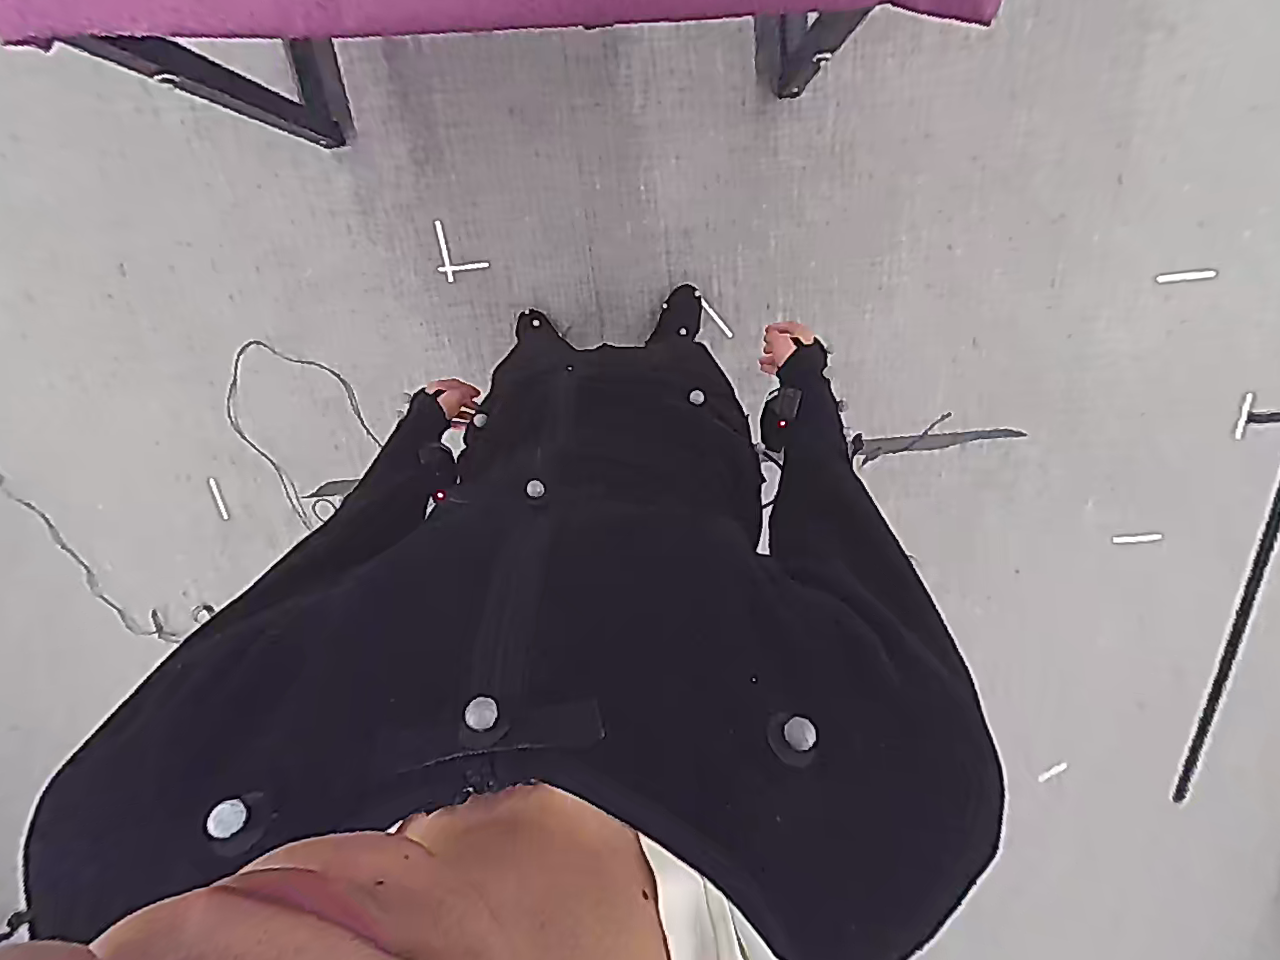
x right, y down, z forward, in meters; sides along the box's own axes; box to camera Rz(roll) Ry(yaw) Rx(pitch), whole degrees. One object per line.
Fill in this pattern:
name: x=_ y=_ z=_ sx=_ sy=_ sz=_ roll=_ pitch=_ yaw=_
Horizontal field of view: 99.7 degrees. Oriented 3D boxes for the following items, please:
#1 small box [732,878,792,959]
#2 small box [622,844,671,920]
small box: x=0.407 y=1.483 z=1.814 sx=0.168 sy=0.176 sz=0.179 roll=-7 pitch=110 yaw=1
small box: x=0.021 y=1.475 z=1.987 sx=0.179 sy=0.176 sz=0.168 roll=0 pitch=111 yaw=1
